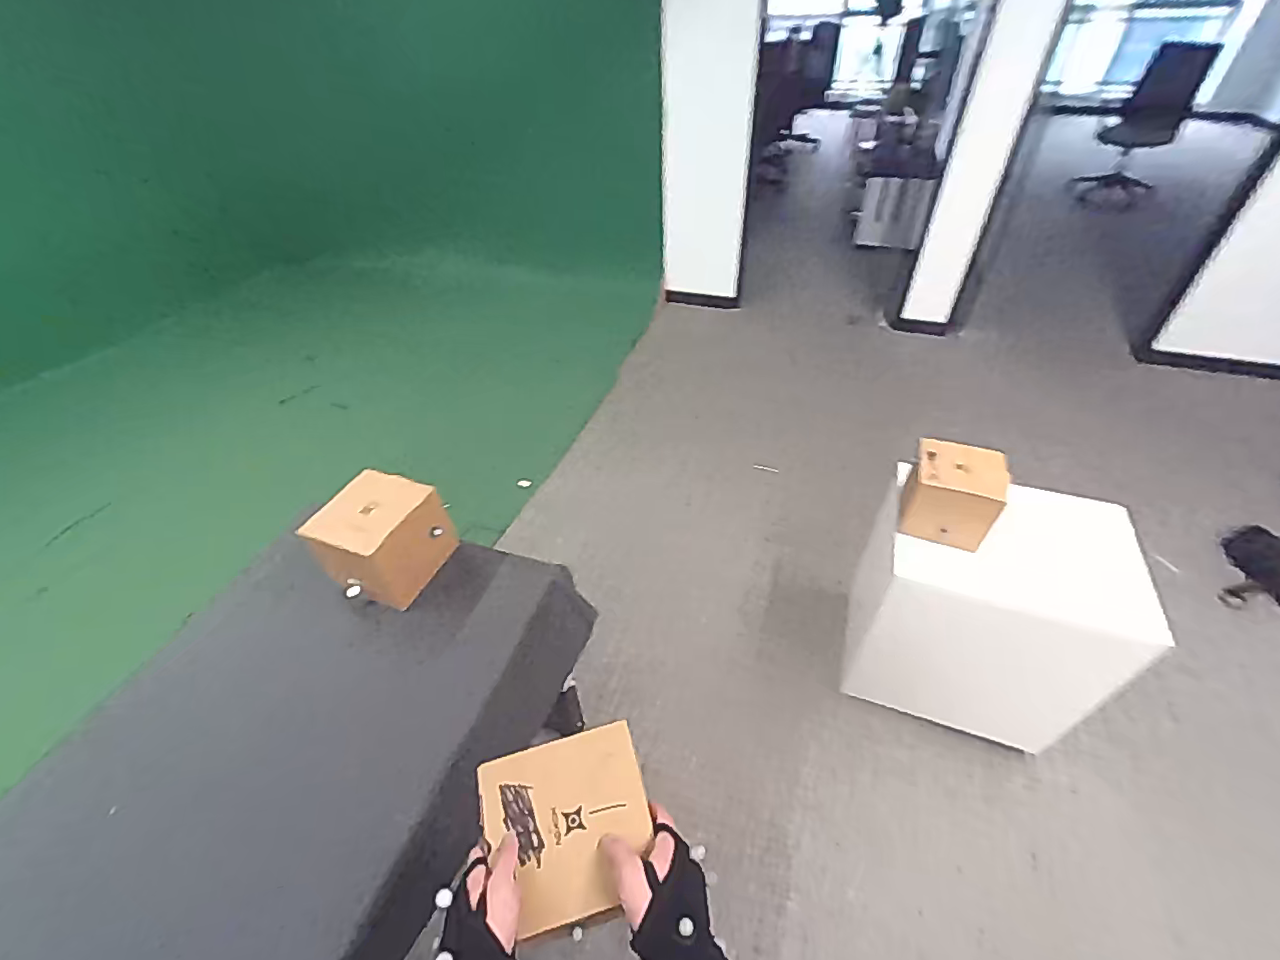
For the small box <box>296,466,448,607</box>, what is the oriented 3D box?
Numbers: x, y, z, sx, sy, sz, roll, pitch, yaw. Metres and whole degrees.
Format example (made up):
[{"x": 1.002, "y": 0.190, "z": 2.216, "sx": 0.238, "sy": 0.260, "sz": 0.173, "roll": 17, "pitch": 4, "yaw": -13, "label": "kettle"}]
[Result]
[{"x": -0.486, "y": 0.106, "z": 1.018, "sx": 0.168, "sy": 0.176, "sz": 0.179, "roll": 13, "pitch": 47, "yaw": 17, "label": "small box"}]

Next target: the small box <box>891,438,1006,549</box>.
[{"x": 0.699, "y": 0.033, "z": 1.237, "sx": 0.179, "sy": 0.176, "sz": 0.168, "roll": 16, "pitch": 46, "yaw": 16, "label": "small box"}]

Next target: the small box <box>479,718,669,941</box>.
[{"x": -0.071, "y": 0.403, "z": 0.621, "sx": 0.179, "sy": 0.176, "sz": 0.168, "roll": -13, "pitch": 50, "yaw": -7, "label": "small box"}]
